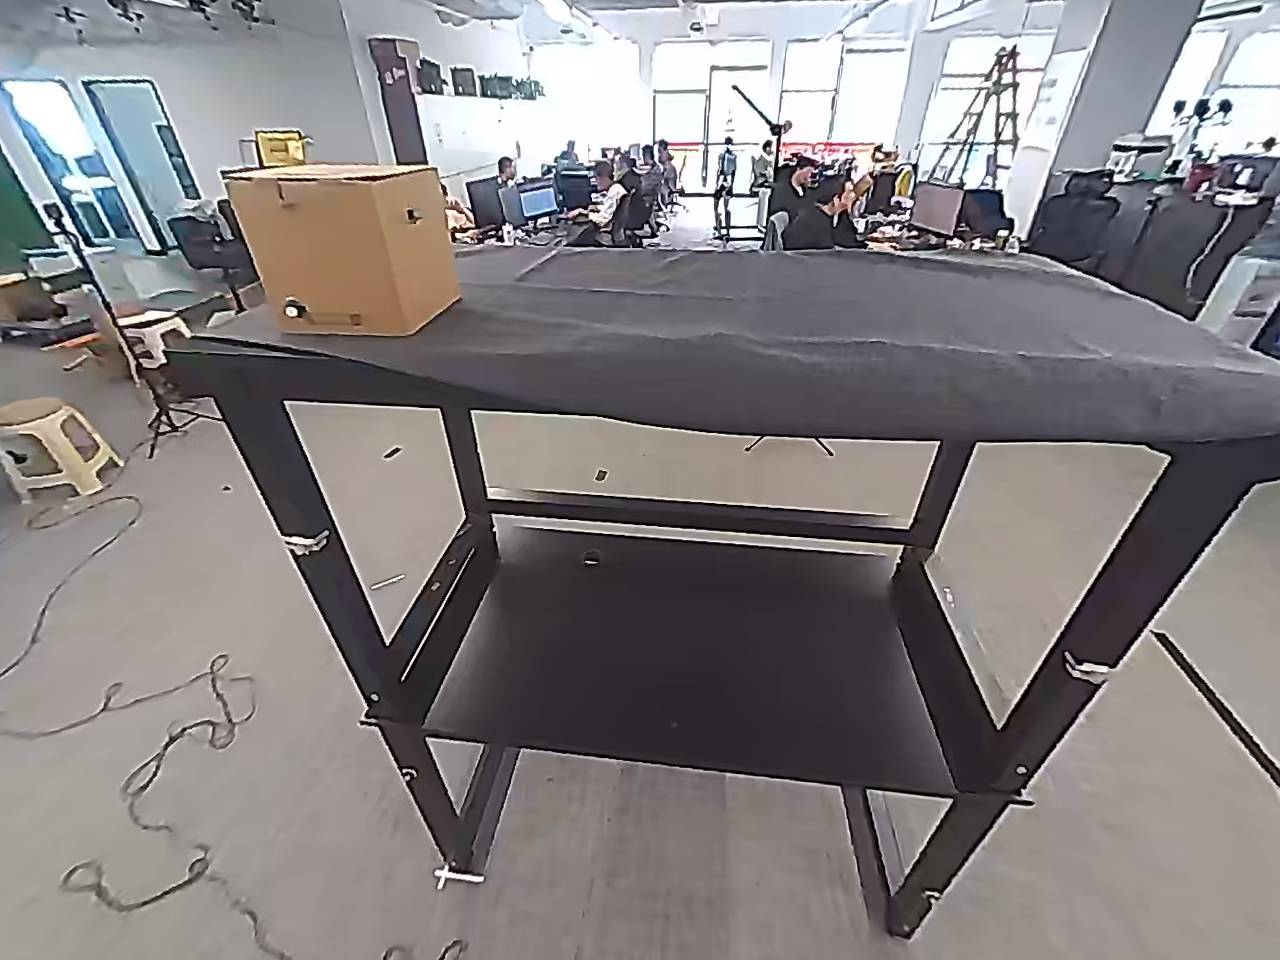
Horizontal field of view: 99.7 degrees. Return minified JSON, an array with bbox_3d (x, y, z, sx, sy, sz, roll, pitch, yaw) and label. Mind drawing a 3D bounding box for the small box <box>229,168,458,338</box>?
[{"bbox_3d":[-0.343,-0.284,0.673,0.168,0.176,0.179,3,34,4],"label":"small box"}]
